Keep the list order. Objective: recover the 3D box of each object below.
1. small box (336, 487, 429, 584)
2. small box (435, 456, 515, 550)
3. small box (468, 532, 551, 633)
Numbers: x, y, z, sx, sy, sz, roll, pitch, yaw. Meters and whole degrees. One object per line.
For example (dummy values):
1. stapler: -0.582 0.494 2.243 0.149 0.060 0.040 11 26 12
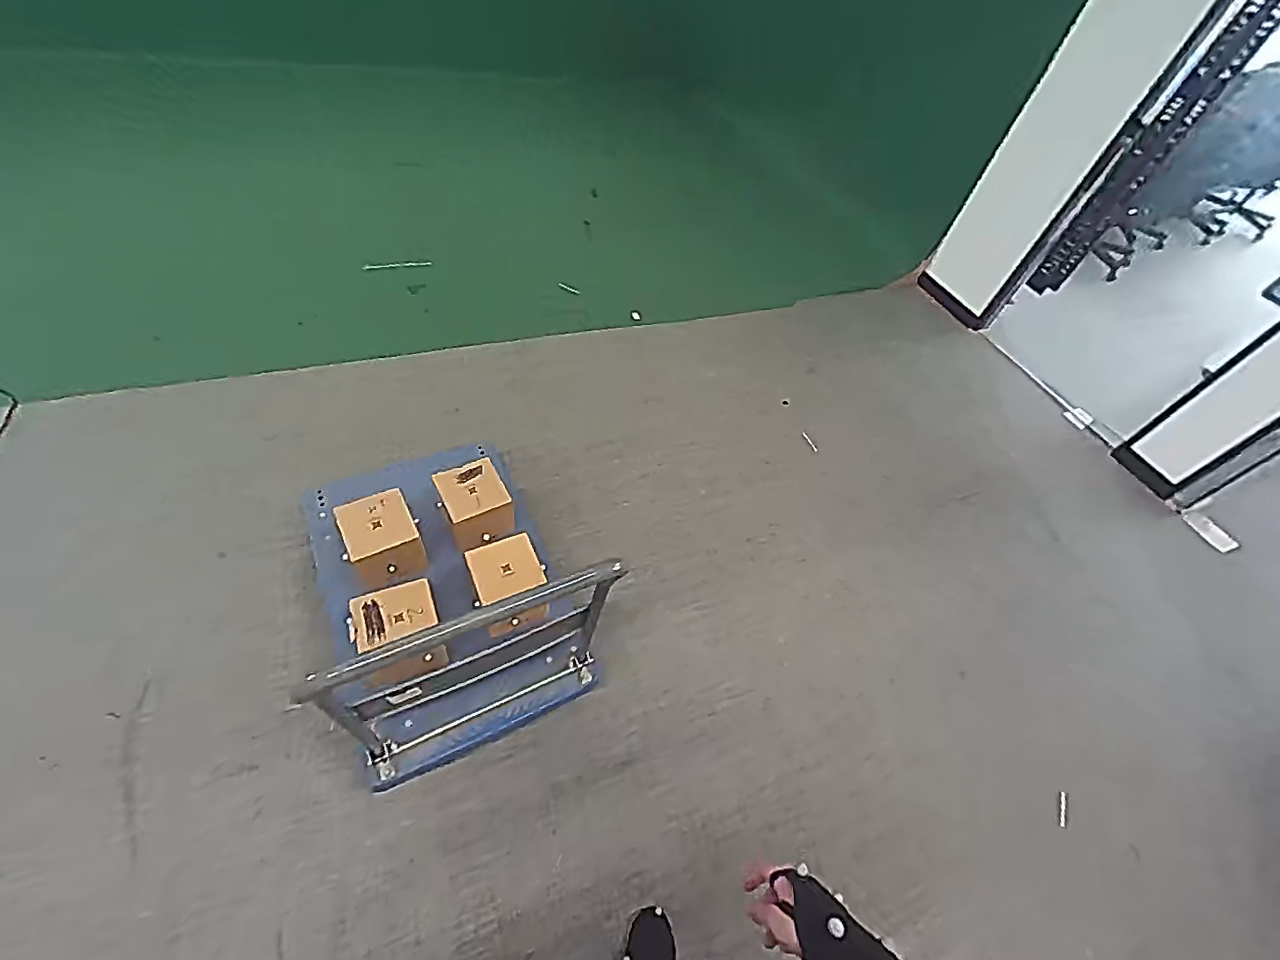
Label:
1. small box: -0.678 0.155 1.438 0.168 0.176 0.179 -21 60 -25
2. small box: -0.467 0.068 1.544 0.168 0.176 0.179 -22 62 -24
3. small box: -0.342 0.271 1.417 0.168 0.176 0.179 -17 59 -23
